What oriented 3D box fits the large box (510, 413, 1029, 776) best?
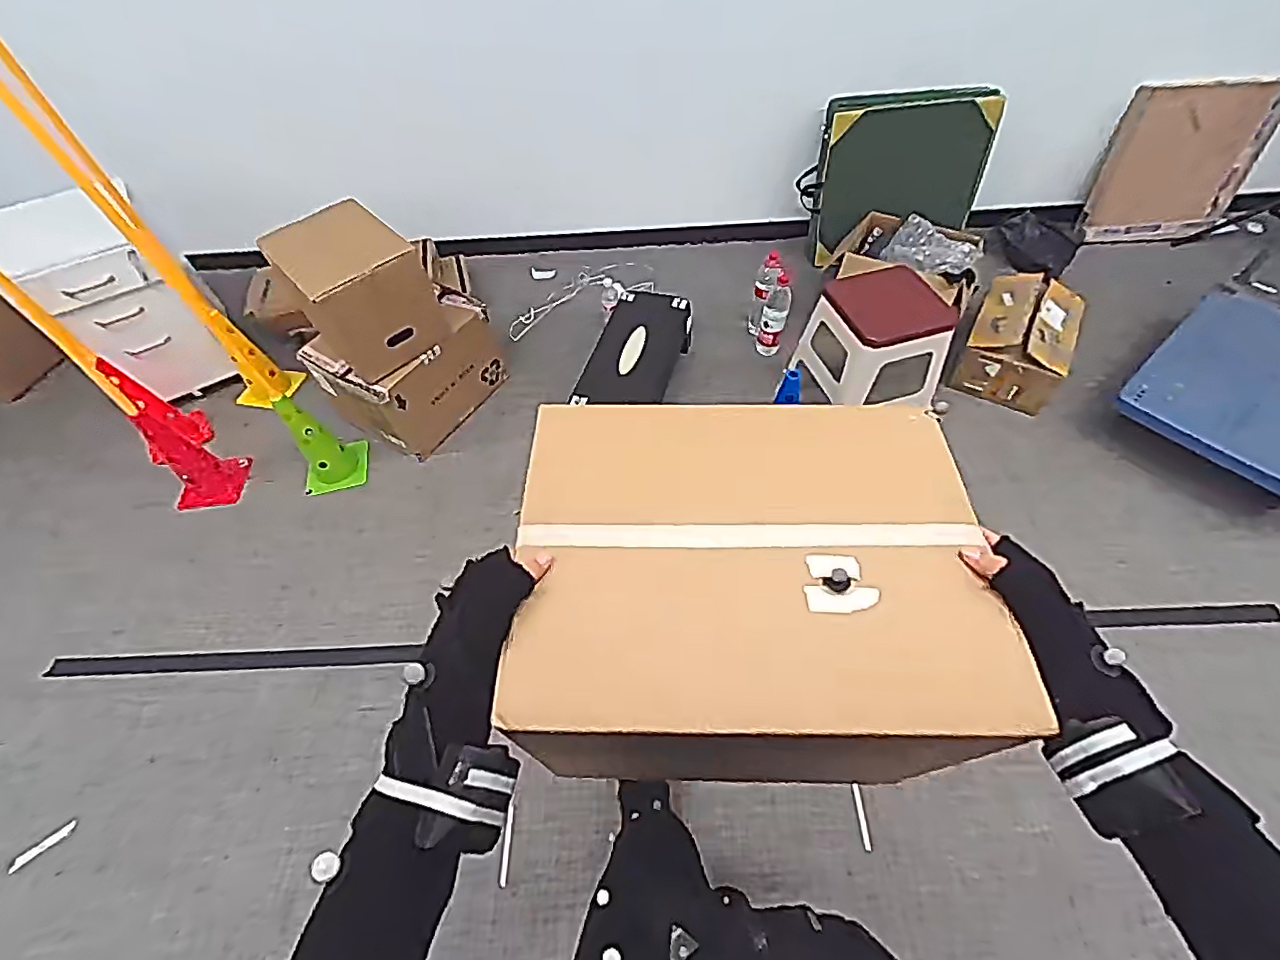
[{"bbox_3d":[0.098,0.141,0.614,0.408,0.320,0.320,0,55,1],"label":"large box"}]
